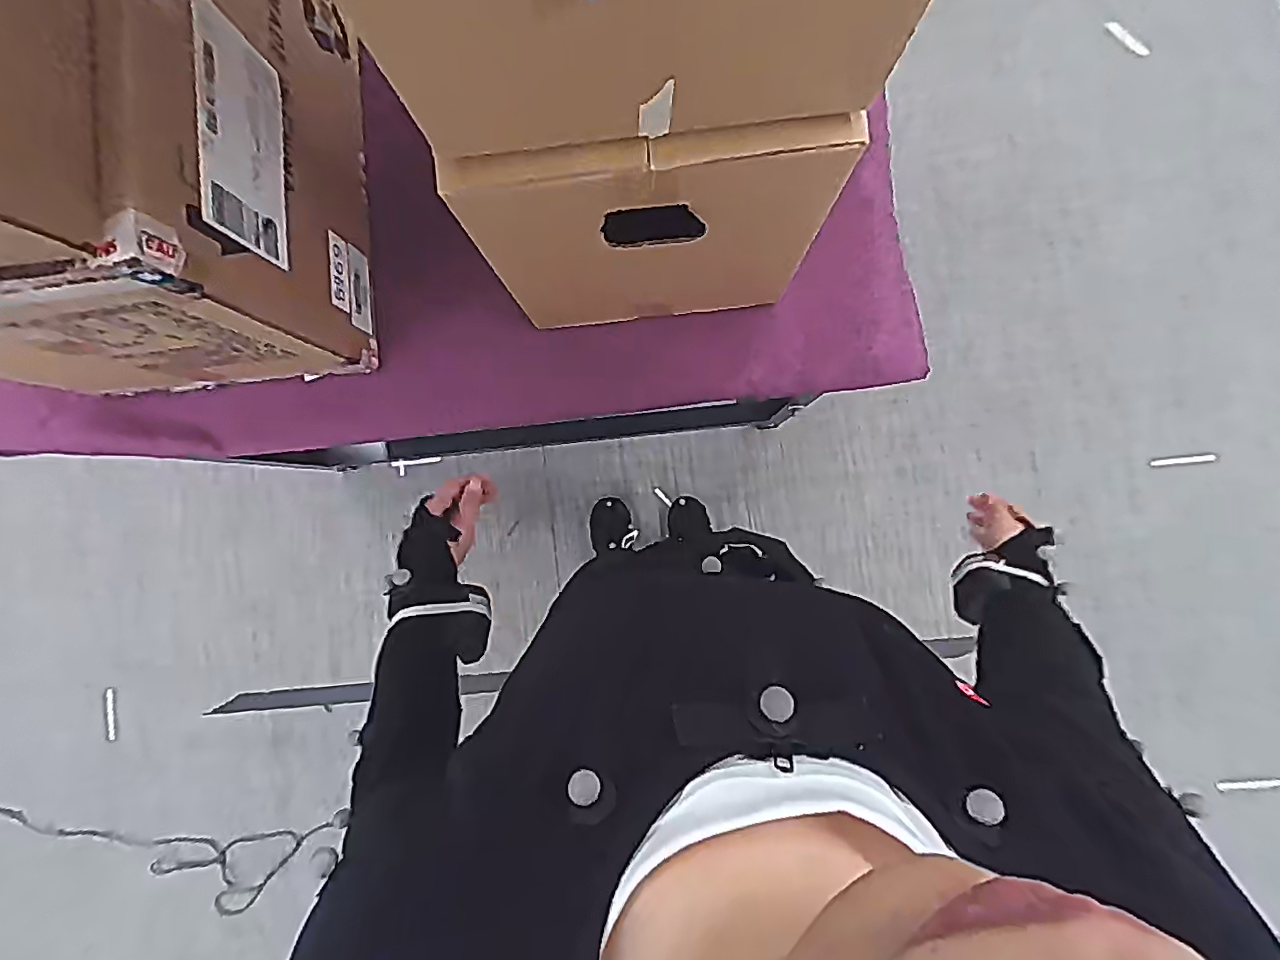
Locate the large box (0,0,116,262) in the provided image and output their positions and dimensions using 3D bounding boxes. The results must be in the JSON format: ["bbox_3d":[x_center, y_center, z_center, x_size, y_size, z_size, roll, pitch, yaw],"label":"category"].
[{"bbox_3d":[-0.557,-0.353,0.258,0.320,0.320,0.408,-6,88,4],"label":"large box"}]
